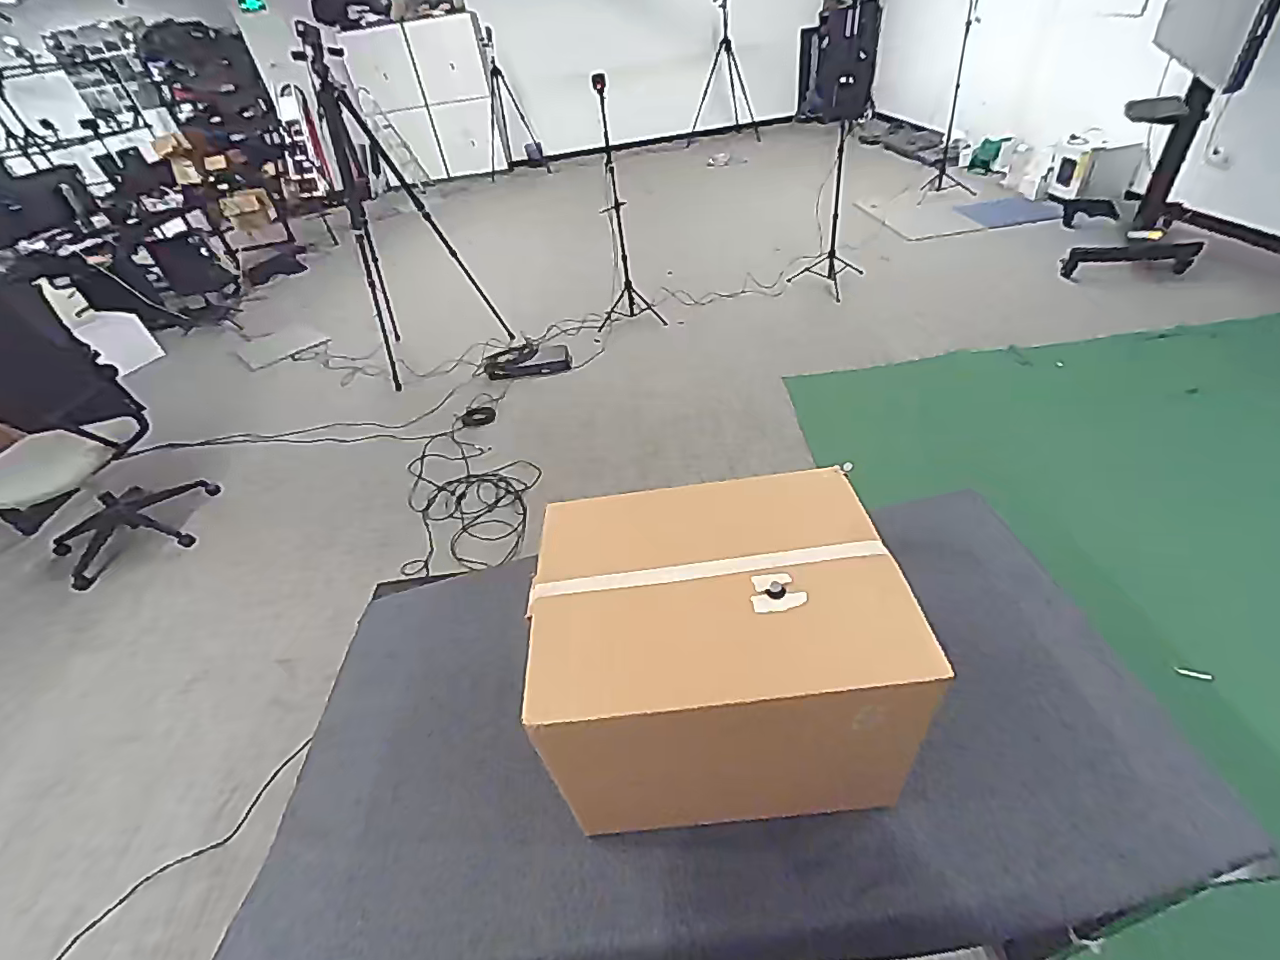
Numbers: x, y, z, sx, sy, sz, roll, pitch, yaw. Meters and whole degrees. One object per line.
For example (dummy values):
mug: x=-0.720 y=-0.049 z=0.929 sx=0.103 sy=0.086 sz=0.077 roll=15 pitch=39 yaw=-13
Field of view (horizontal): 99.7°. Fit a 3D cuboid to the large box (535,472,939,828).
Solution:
large box: x=0.099 y=0.225 z=0.727 sx=0.408 sy=0.320 sz=0.320 roll=-8 pitch=40 yaw=2
